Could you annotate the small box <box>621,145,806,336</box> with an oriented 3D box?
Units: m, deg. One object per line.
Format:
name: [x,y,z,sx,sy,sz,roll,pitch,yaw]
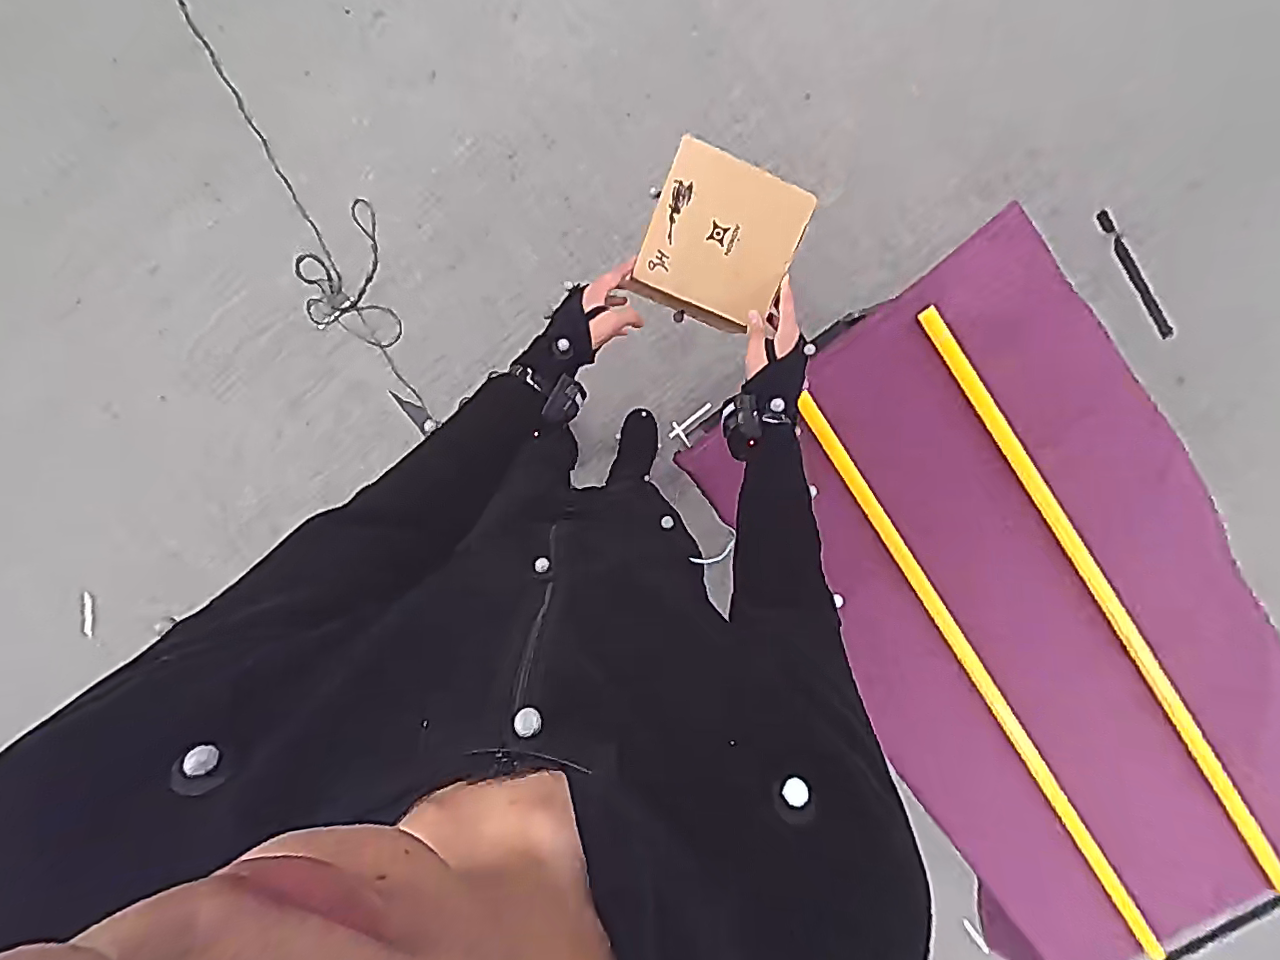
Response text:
small box: [0.085,-0.306,0.726,0.179,0.176,0.168,20,102,-10]
